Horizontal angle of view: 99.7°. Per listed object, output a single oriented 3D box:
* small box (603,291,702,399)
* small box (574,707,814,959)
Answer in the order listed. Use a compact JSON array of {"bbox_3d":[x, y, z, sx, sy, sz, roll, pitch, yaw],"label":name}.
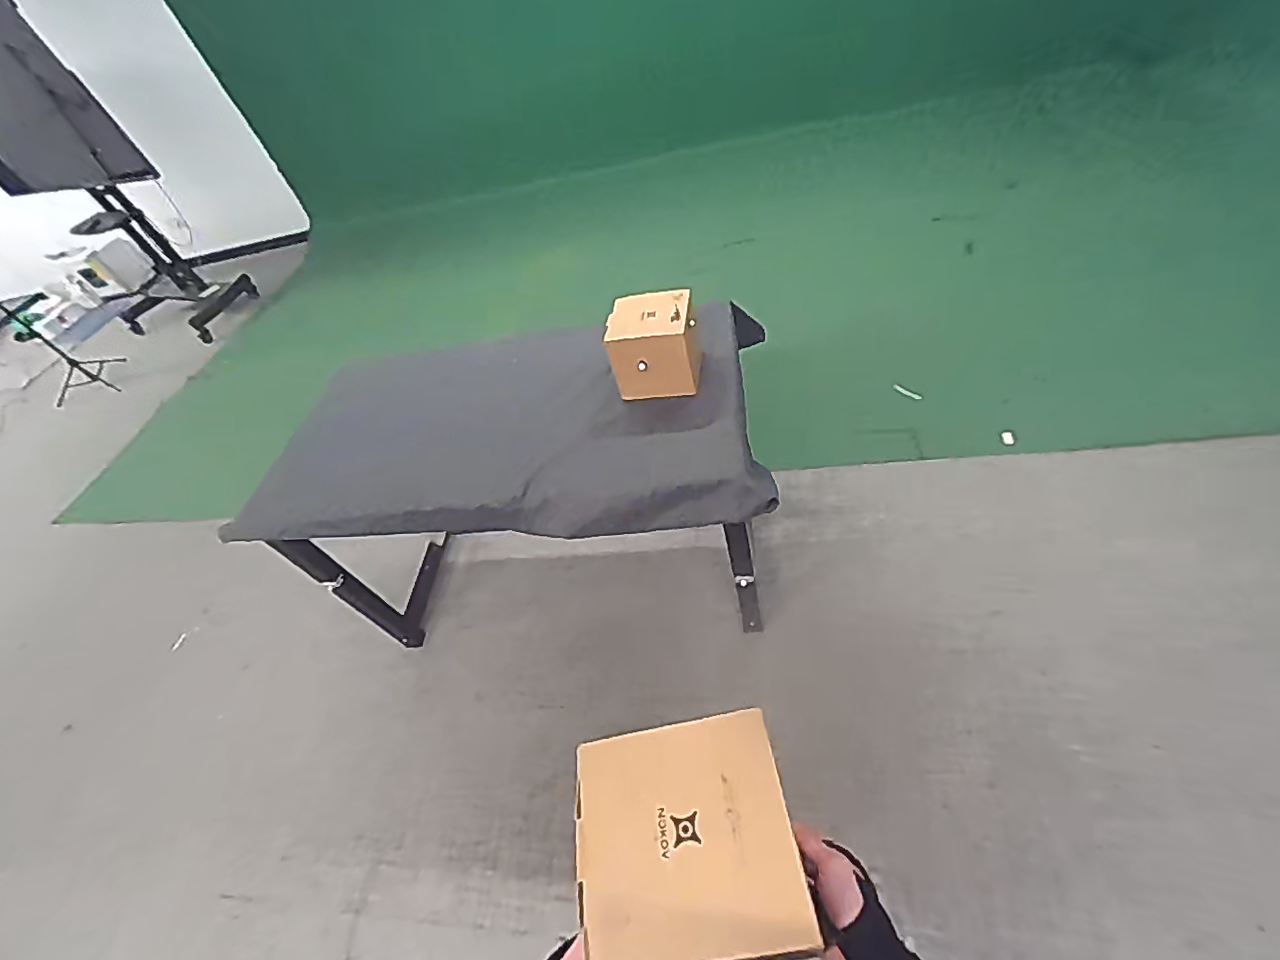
[{"bbox_3d":[0.037,-0.299,1.224,0.179,0.176,0.168,-2,51,16],"label":"small box"},{"bbox_3d":[0.050,0.335,0.496,0.179,0.176,0.168,-14,46,6],"label":"small box"}]
